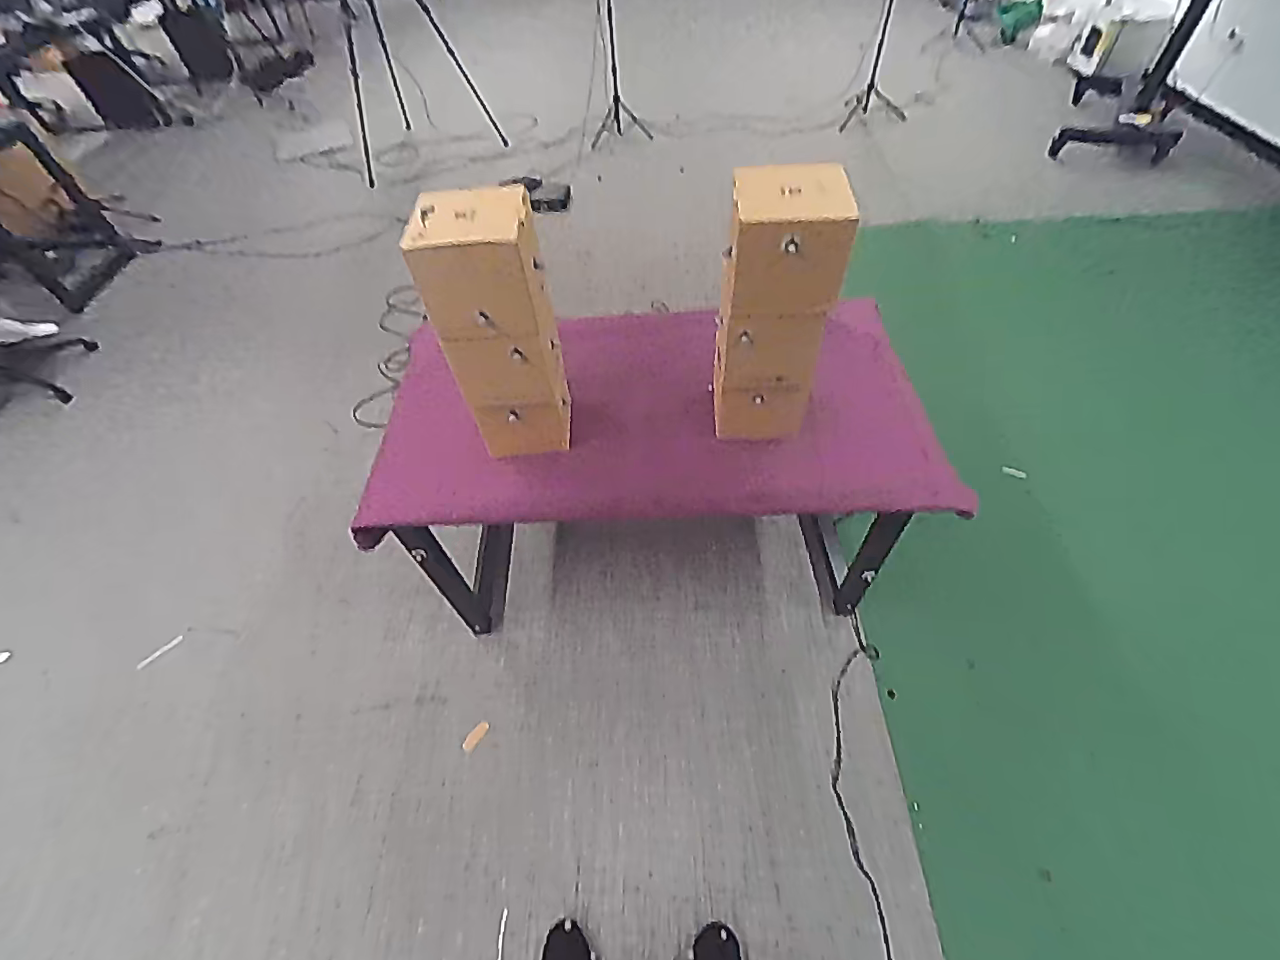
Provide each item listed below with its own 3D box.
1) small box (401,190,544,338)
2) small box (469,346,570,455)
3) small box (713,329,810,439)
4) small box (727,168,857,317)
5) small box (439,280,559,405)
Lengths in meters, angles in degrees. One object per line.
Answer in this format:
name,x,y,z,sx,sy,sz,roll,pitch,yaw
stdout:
small box,-0.260,-0.353,0.893,0.179,0.176,0.168,-3,53,0
small box,-0.249,-0.170,1.167,0.179,0.176,0.168,-4,53,1
small box,0.249,-0.201,1.156,0.179,0.176,0.168,0,53,3
small box,0.234,-0.384,0.885,0.179,0.176,0.168,1,54,4
small box,-0.254,-0.258,1.026,0.179,0.176,0.168,-3,53,2
